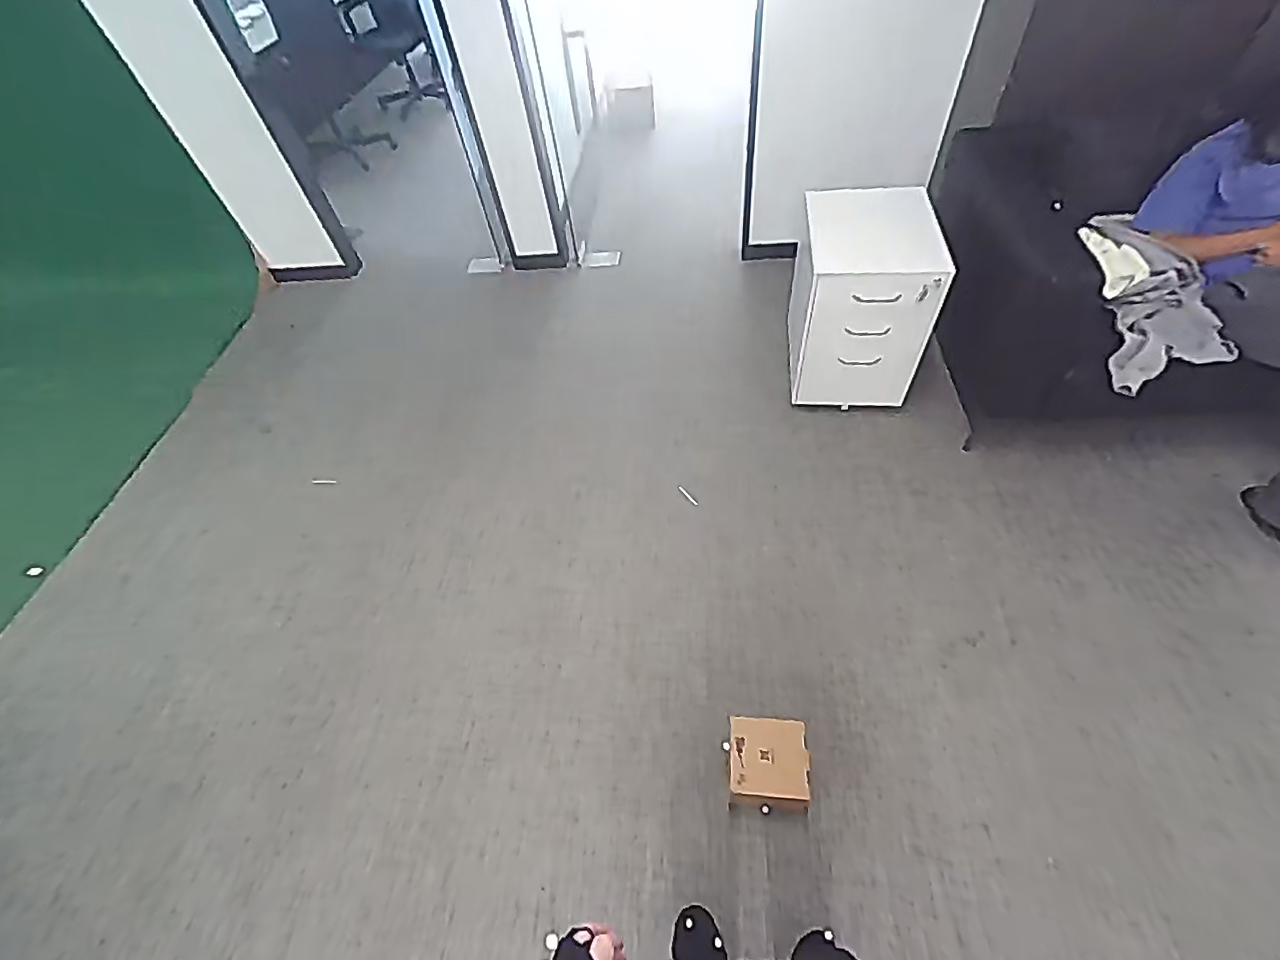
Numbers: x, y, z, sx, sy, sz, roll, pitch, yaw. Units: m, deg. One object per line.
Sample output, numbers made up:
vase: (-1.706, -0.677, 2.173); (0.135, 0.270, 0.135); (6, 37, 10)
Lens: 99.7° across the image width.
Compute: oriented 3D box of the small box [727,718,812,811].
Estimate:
small box: (0.306, 0.691, 1.308); (0.179, 0.176, 0.168); (2, 52, 7)
